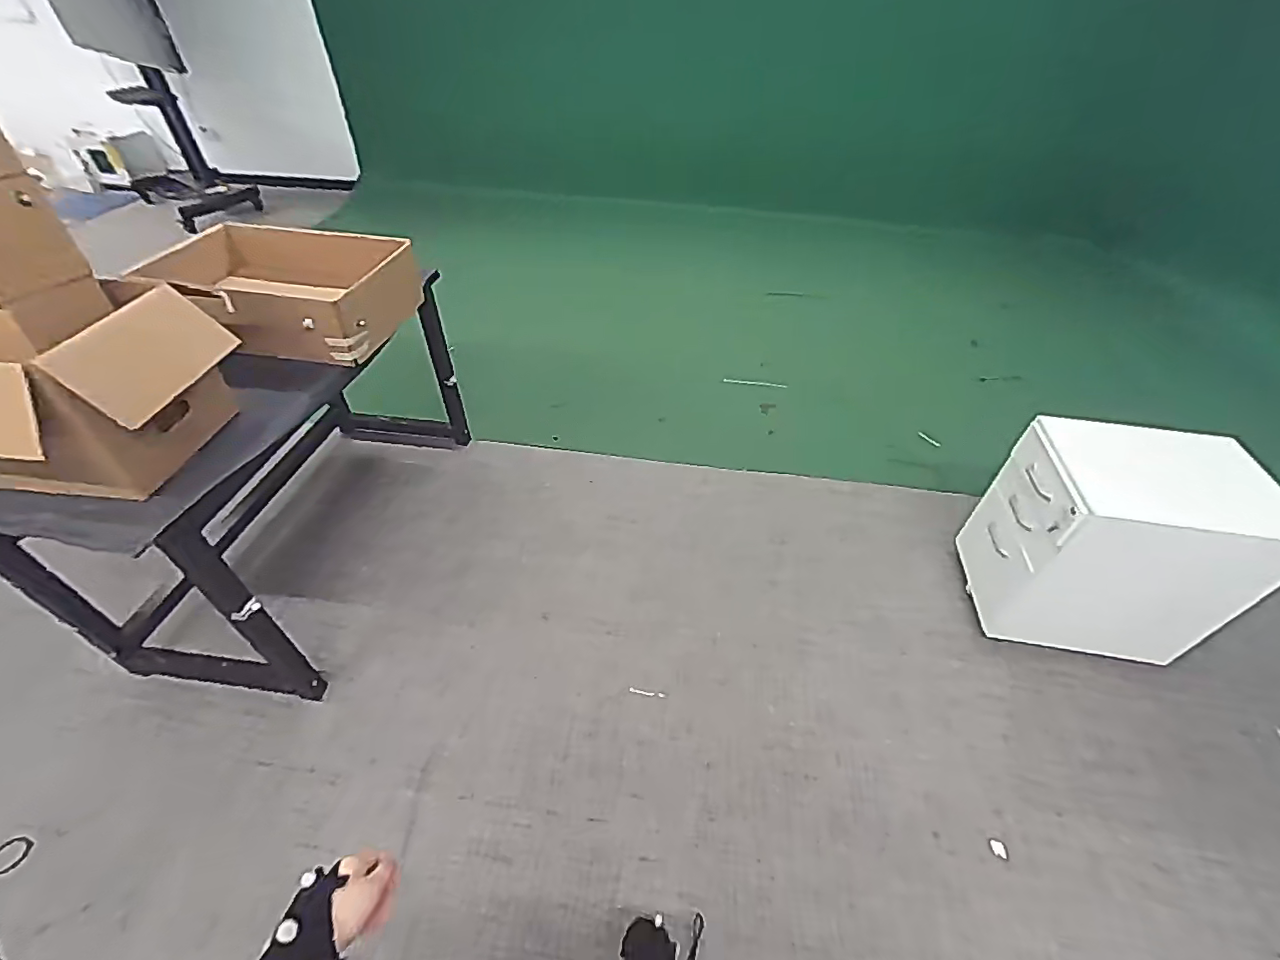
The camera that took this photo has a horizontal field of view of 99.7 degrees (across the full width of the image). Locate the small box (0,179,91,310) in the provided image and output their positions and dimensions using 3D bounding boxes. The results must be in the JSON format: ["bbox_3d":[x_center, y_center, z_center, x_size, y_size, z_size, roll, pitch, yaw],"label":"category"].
[{"bbox_3d":[-1.105,-0.393,0.902,0.168,0.176,0.179,5,39,7],"label":"small box"}]
